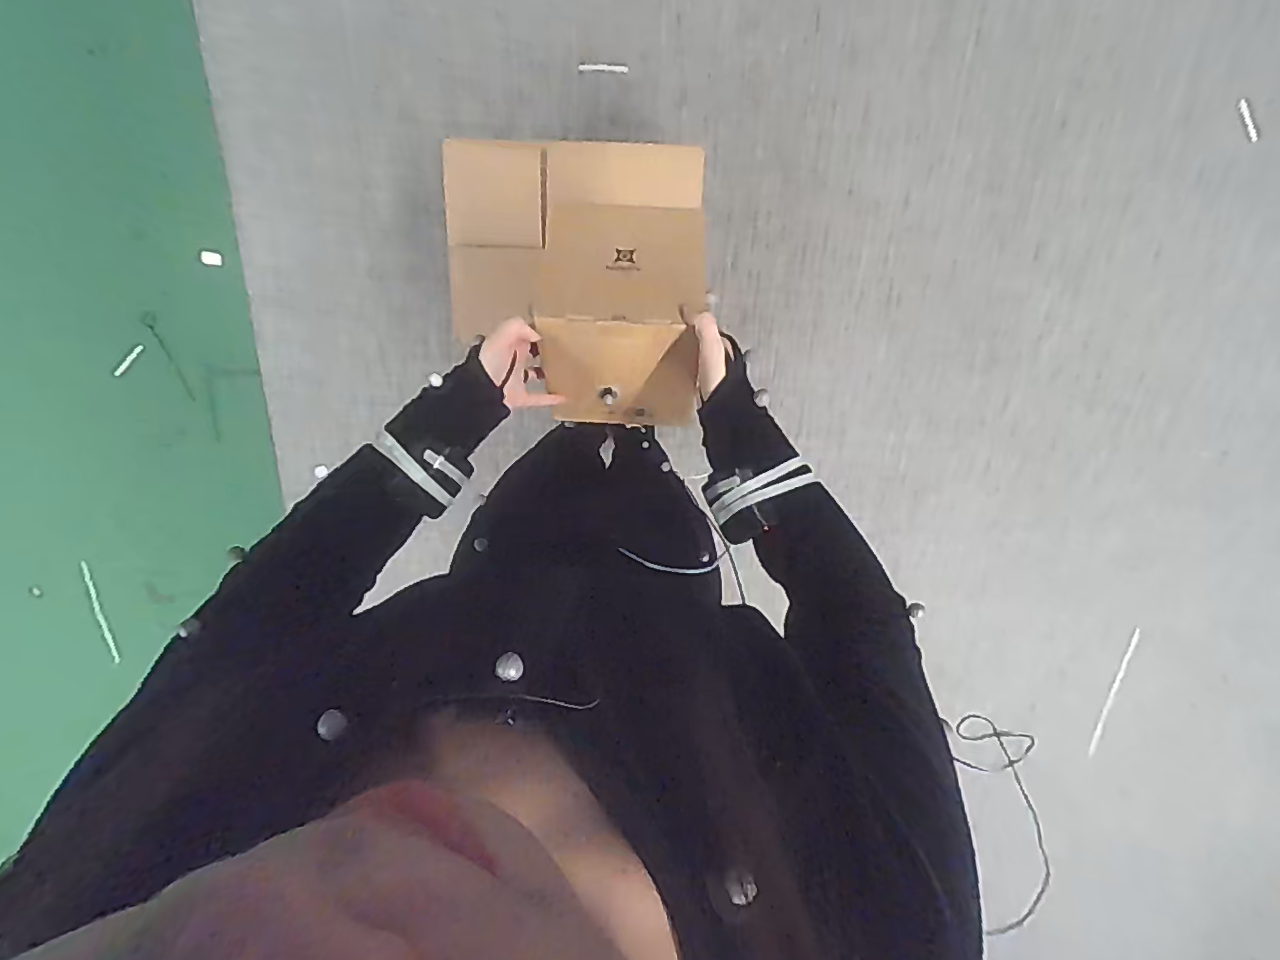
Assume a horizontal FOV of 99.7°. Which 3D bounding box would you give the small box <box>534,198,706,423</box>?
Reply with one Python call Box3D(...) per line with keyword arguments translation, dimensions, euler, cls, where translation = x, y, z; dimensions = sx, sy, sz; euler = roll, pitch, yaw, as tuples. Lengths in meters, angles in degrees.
Box3D(translation=(-0.018, -0.188, 0.622), dimensions=(0.168, 0.179, 0.176), euler=(4, 153, 0), cls="small box")
